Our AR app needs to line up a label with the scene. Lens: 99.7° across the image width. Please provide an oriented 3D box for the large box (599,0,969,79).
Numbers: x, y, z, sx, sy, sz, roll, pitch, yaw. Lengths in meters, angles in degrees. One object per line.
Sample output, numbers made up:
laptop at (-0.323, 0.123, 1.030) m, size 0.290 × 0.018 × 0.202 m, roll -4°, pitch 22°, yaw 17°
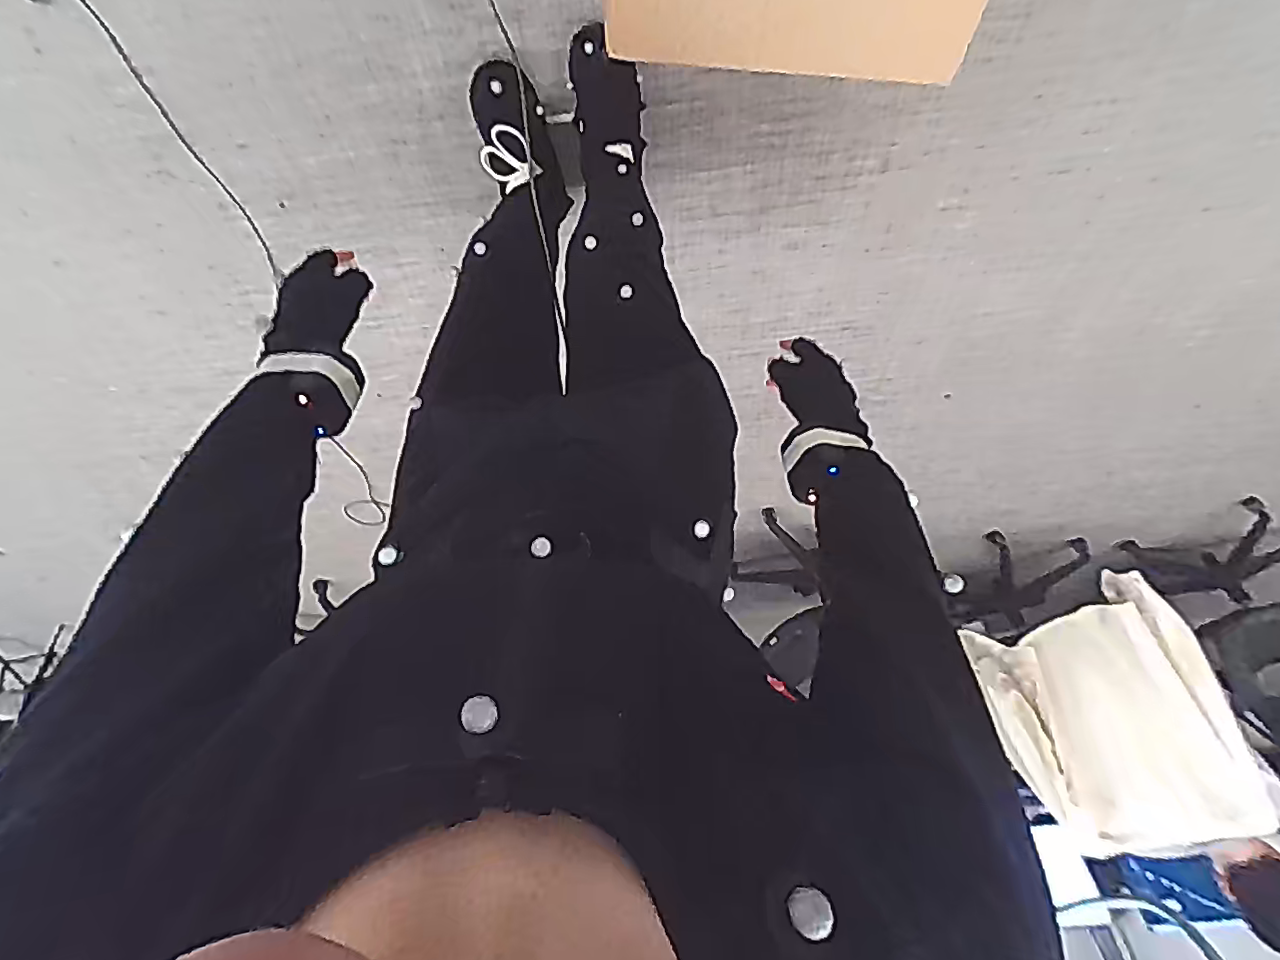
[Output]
large box at (0.161, -0.689, 0.595) m, size 0.408 × 0.320 × 0.320 m, roll 1°, pitch 141°, yaw -6°
